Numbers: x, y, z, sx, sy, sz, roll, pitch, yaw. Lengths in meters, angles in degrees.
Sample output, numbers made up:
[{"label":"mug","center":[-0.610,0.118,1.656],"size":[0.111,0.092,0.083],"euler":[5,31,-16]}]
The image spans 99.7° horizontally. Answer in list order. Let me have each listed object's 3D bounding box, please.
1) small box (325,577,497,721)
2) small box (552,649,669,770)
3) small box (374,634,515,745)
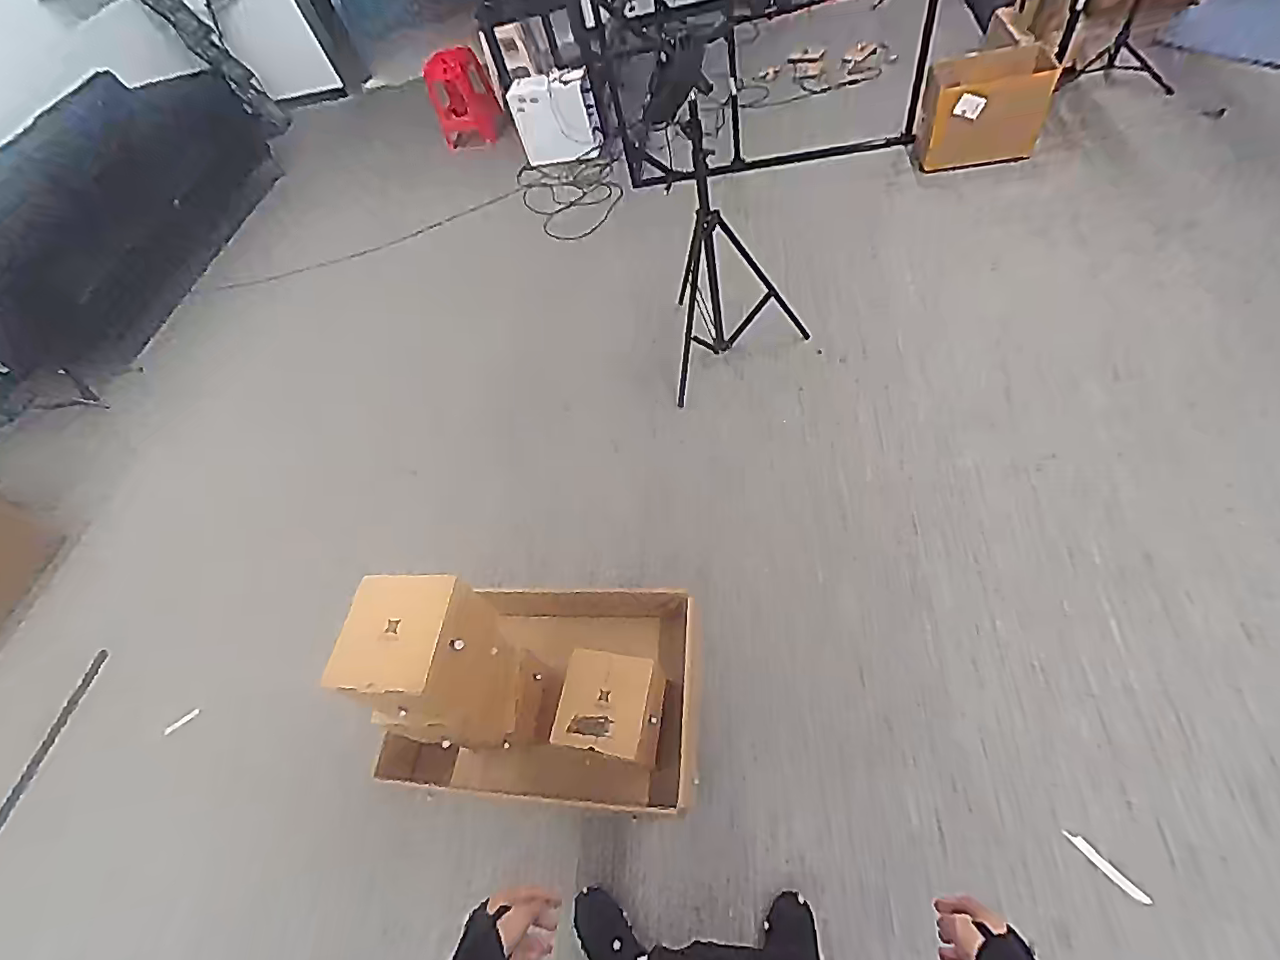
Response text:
[{"label":"small box","center":[-0.343,0.268,0.853],"size":[0.168,0.176,0.179],"euler":[-2,56,11]},{"label":"small box","center":[-0.046,0.448,1.051],"size":[0.168,0.176,0.179],"euler":[3,58,17]},{"label":"small box","center":[-0.340,0.371,0.982],"size":[0.168,0.176,0.179],"euler":[-5,56,9]}]
